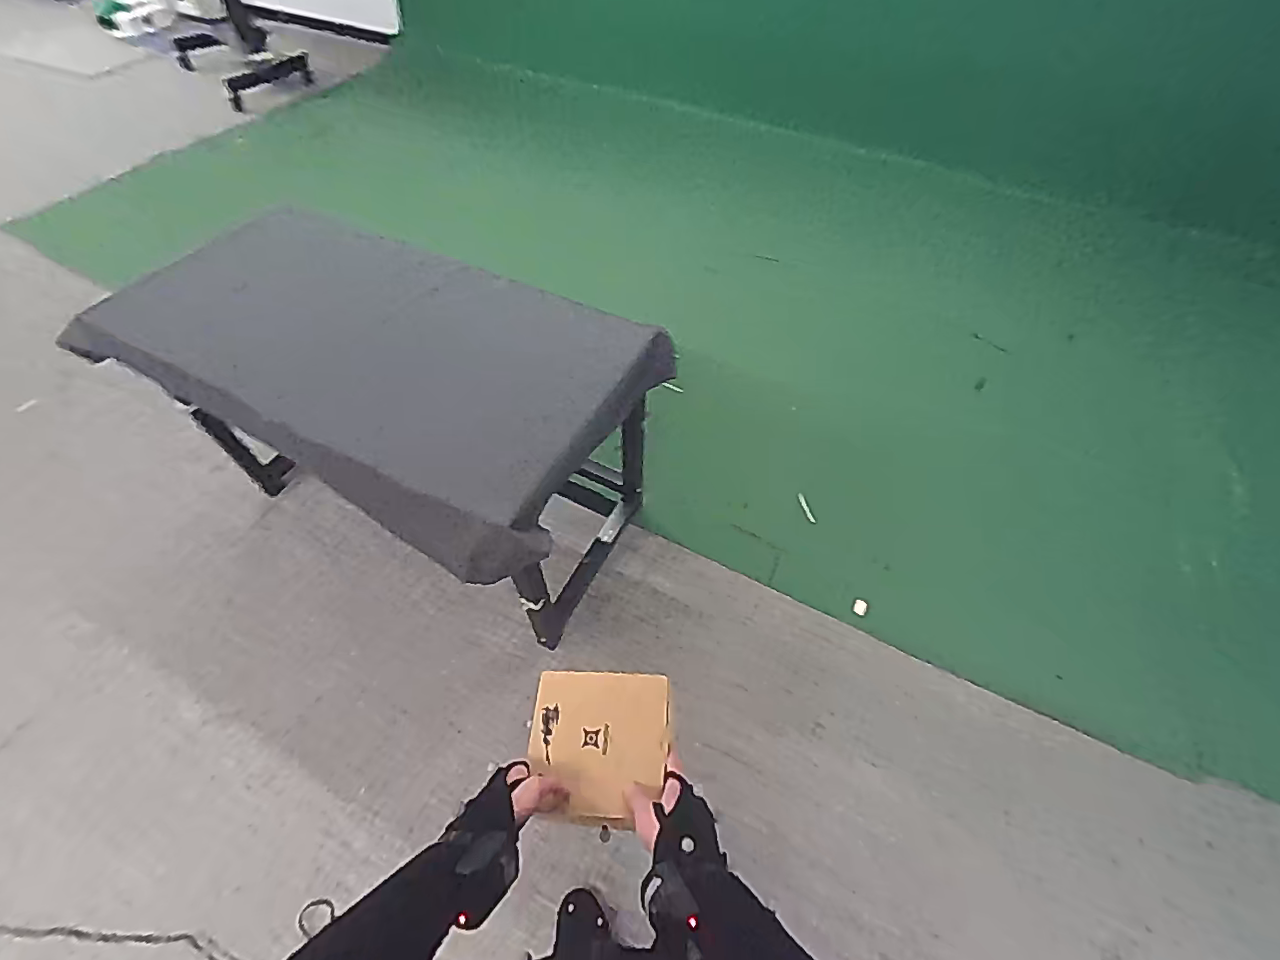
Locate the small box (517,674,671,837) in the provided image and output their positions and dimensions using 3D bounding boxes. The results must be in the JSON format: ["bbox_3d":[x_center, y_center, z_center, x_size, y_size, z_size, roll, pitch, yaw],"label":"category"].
[{"bbox_3d":[-0.048,0.377,0.735,0.179,0.176,0.168,0,52,5],"label":"small box"}]
